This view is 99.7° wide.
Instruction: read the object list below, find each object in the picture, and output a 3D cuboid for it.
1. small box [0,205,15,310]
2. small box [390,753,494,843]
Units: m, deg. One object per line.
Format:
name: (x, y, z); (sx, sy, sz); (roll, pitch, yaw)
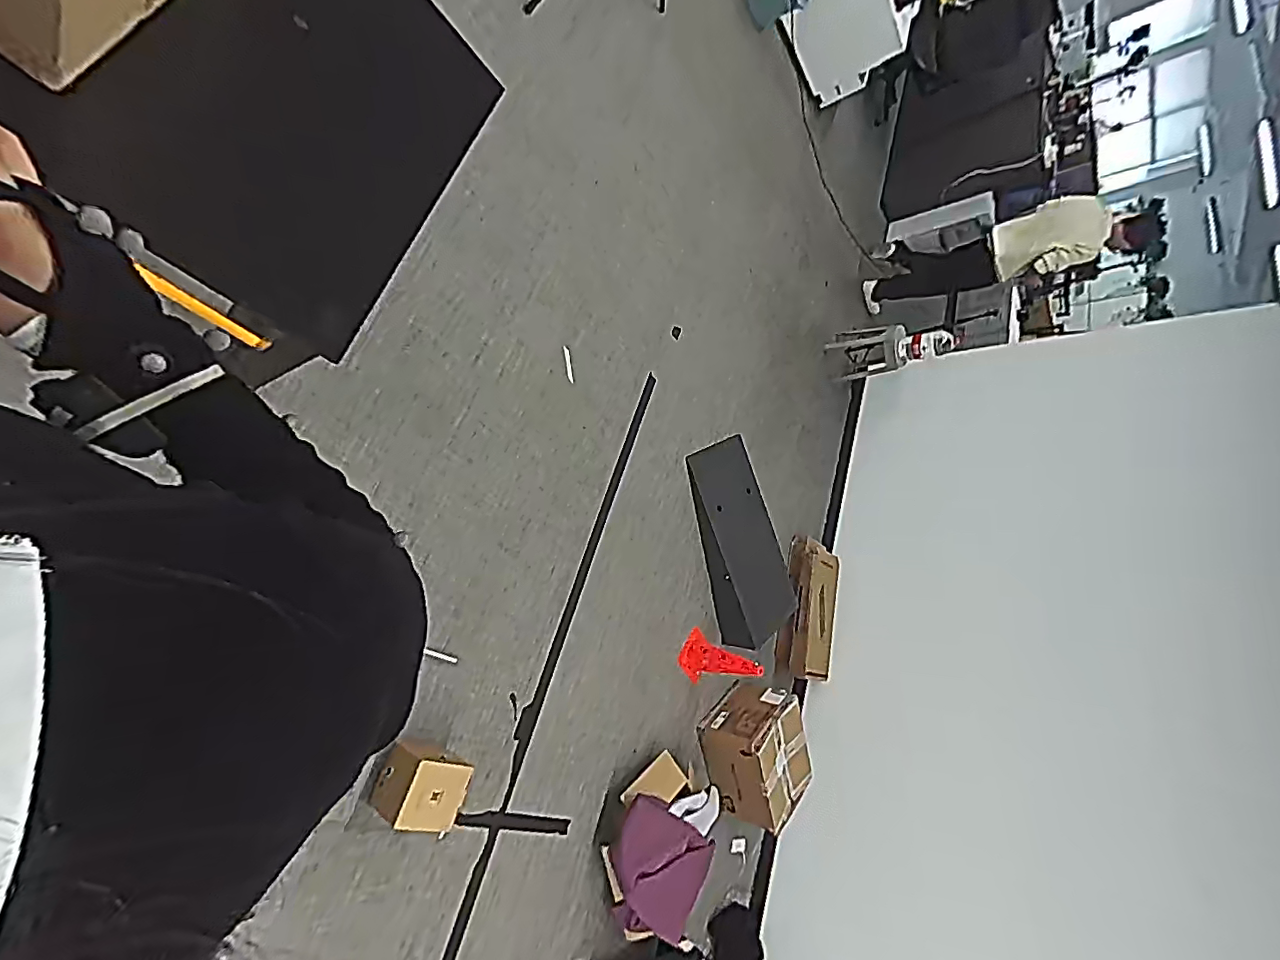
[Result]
small box: (-0.366, -0.157, 0.192); (0.168, 0.176, 0.179); (-13, 106, -49)
small box: (-0.539, 0.863, 1.473); (0.179, 0.176, 0.168); (36, 63, -41)
